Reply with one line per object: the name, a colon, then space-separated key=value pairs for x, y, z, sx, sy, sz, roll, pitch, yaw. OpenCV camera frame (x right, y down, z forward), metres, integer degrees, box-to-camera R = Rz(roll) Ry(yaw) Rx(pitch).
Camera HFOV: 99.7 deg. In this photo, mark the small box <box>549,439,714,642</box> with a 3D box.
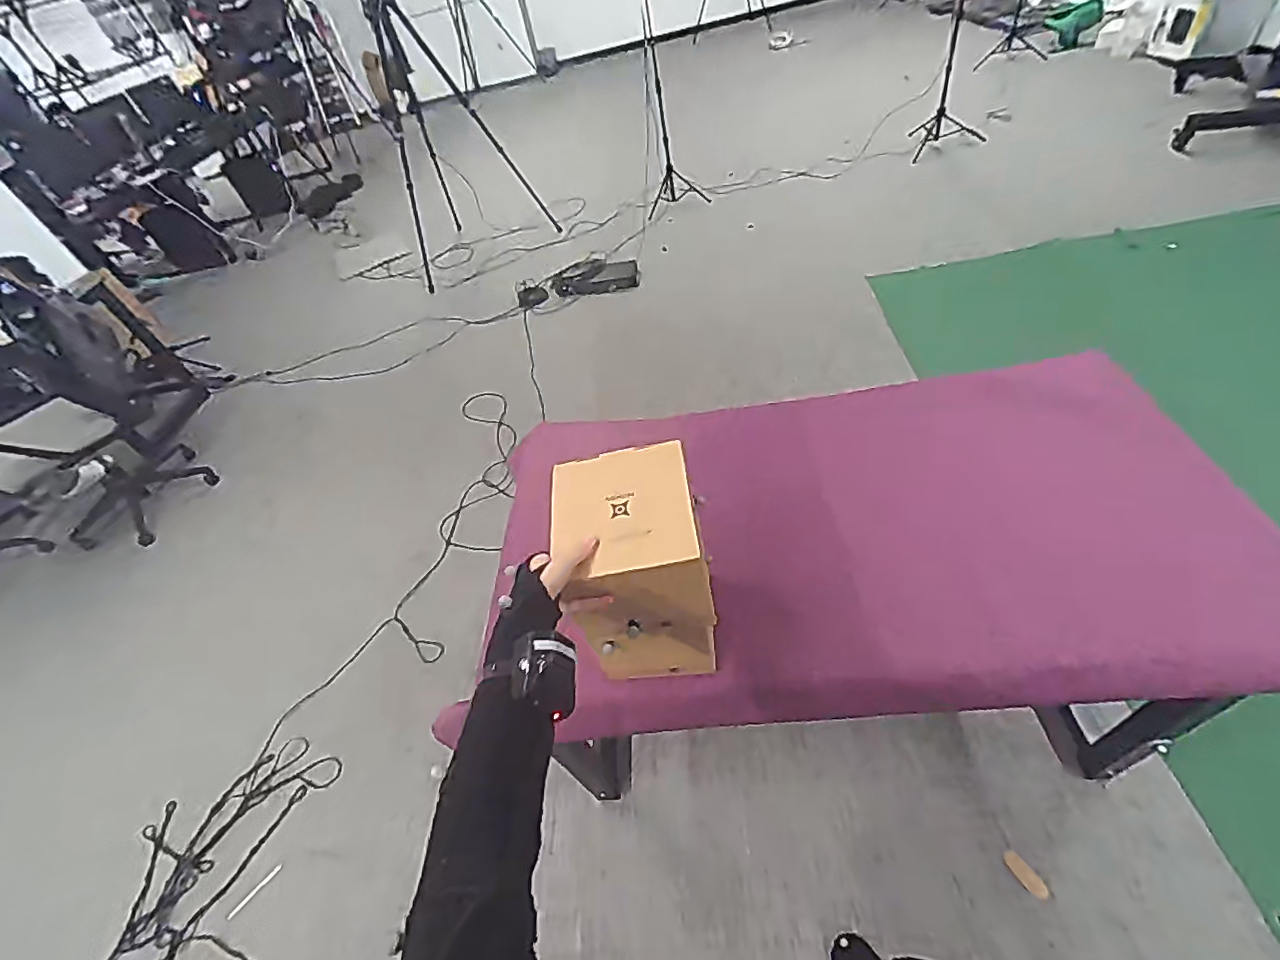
small box: x=-0.005 y=0.079 z=0.674 sx=0.168 sy=0.176 sz=0.179 roll=-11 pitch=50 yaw=7
